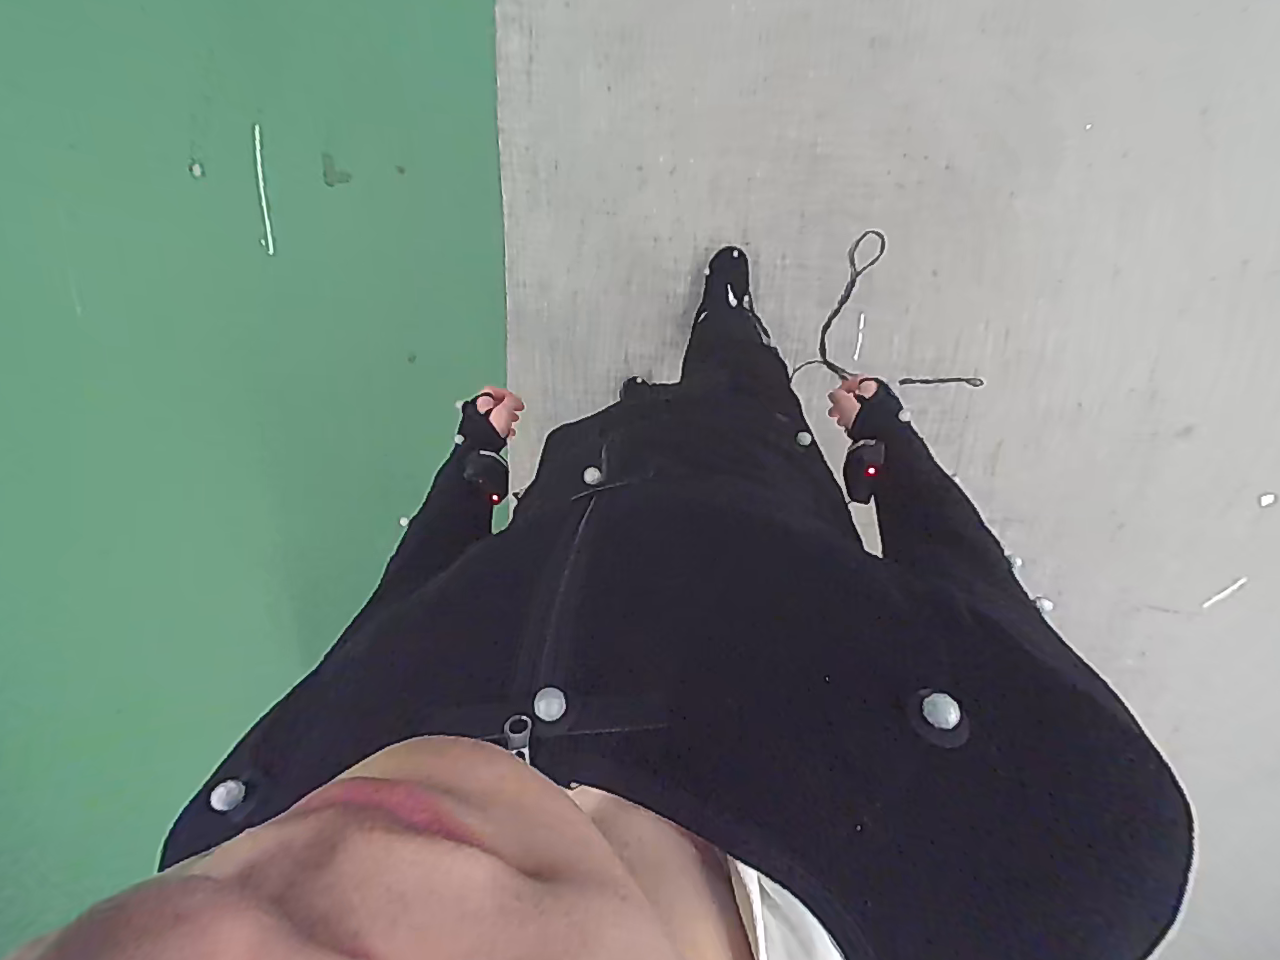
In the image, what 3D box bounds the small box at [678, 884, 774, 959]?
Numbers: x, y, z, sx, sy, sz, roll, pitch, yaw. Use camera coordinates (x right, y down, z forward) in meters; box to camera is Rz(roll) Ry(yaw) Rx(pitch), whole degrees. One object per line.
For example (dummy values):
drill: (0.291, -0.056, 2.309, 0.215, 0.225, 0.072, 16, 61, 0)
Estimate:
small box: (0.159, 0.924, 1.042, 0.168, 0.176, 0.179, 2, 105, 3)
